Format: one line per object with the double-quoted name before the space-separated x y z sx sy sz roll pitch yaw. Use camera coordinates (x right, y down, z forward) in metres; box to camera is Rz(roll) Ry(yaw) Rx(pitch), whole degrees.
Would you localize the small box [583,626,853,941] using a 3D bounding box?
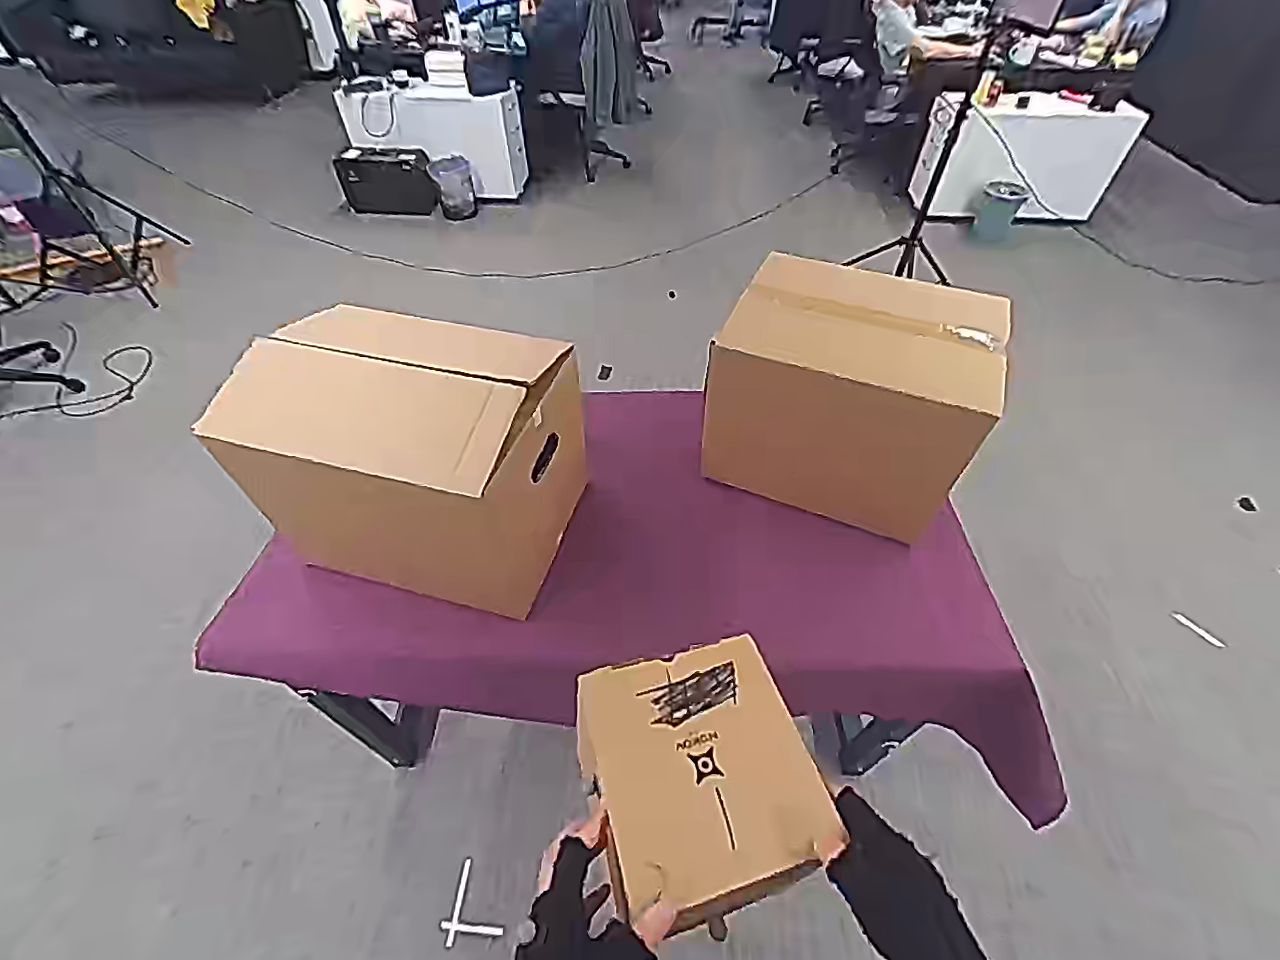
"small box" 0.045 0.262 0.476 0.168 0.176 0.179 -9 46 -15
